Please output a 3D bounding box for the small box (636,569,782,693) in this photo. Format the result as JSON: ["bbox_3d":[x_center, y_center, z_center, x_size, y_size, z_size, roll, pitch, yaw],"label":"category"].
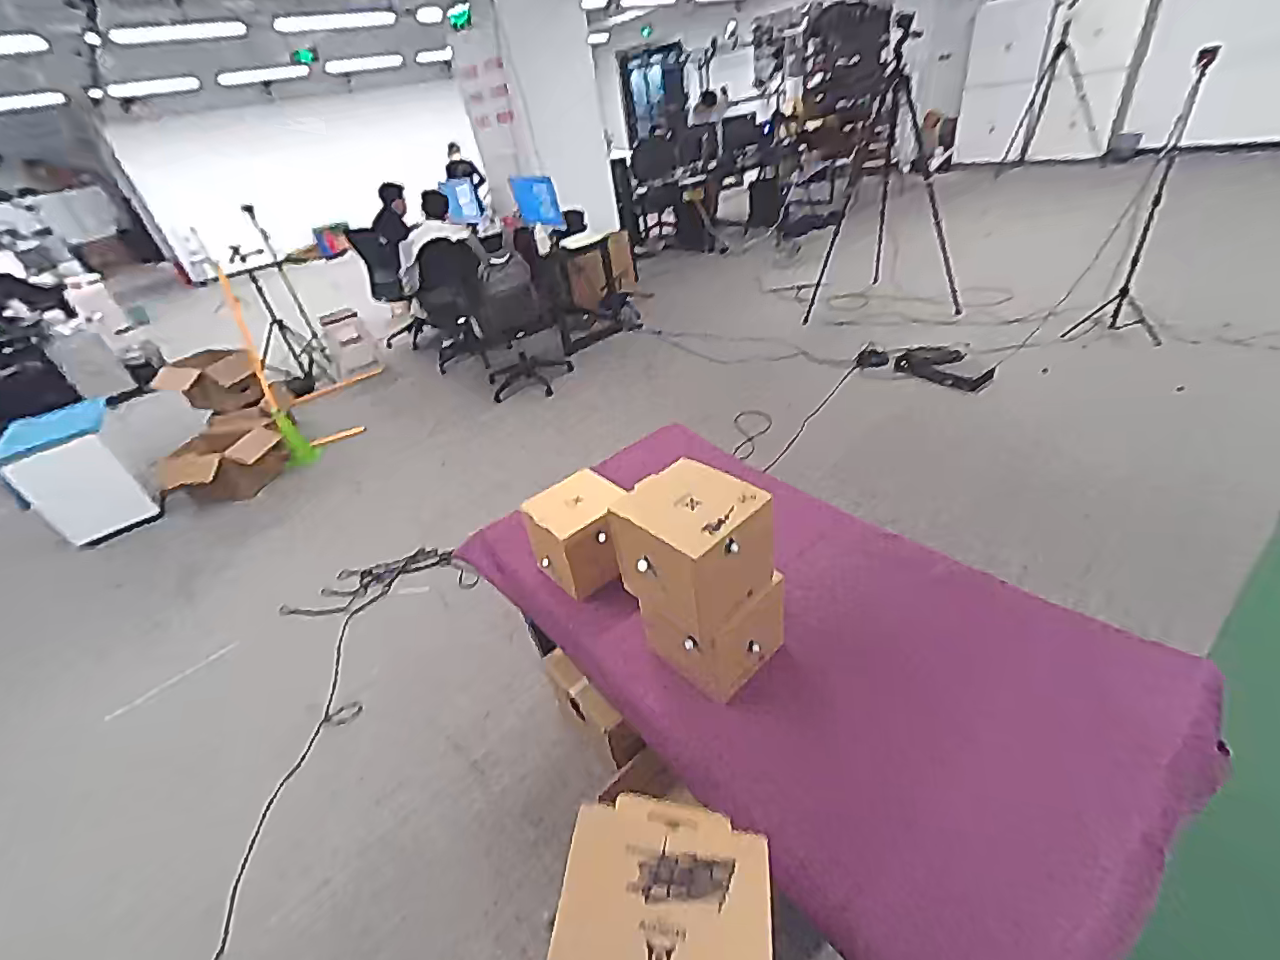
[{"bbox_3d":[0.117,0.222,0.899,0.168,0.176,0.179,-32,39,-30],"label":"small box"}]

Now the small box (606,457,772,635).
[{"bbox_3d":[0.077,0.095,0.801,0.168,0.176,0.179,-34,40,-30],"label":"small box"}]

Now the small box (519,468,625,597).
[{"bbox_3d":[-0.122,0.108,1.131,0.179,0.176,0.168,-32,40,-28],"label":"small box"}]

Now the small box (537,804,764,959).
[{"bbox_3d":[0.002,0.408,0.442,0.168,0.176,0.179,8,37,5],"label":"small box"}]

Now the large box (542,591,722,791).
[{"bbox_3d":[-0.007,0.589,1.580,0.408,0.320,0.320,-34,41,-27],"label":"large box"}]
